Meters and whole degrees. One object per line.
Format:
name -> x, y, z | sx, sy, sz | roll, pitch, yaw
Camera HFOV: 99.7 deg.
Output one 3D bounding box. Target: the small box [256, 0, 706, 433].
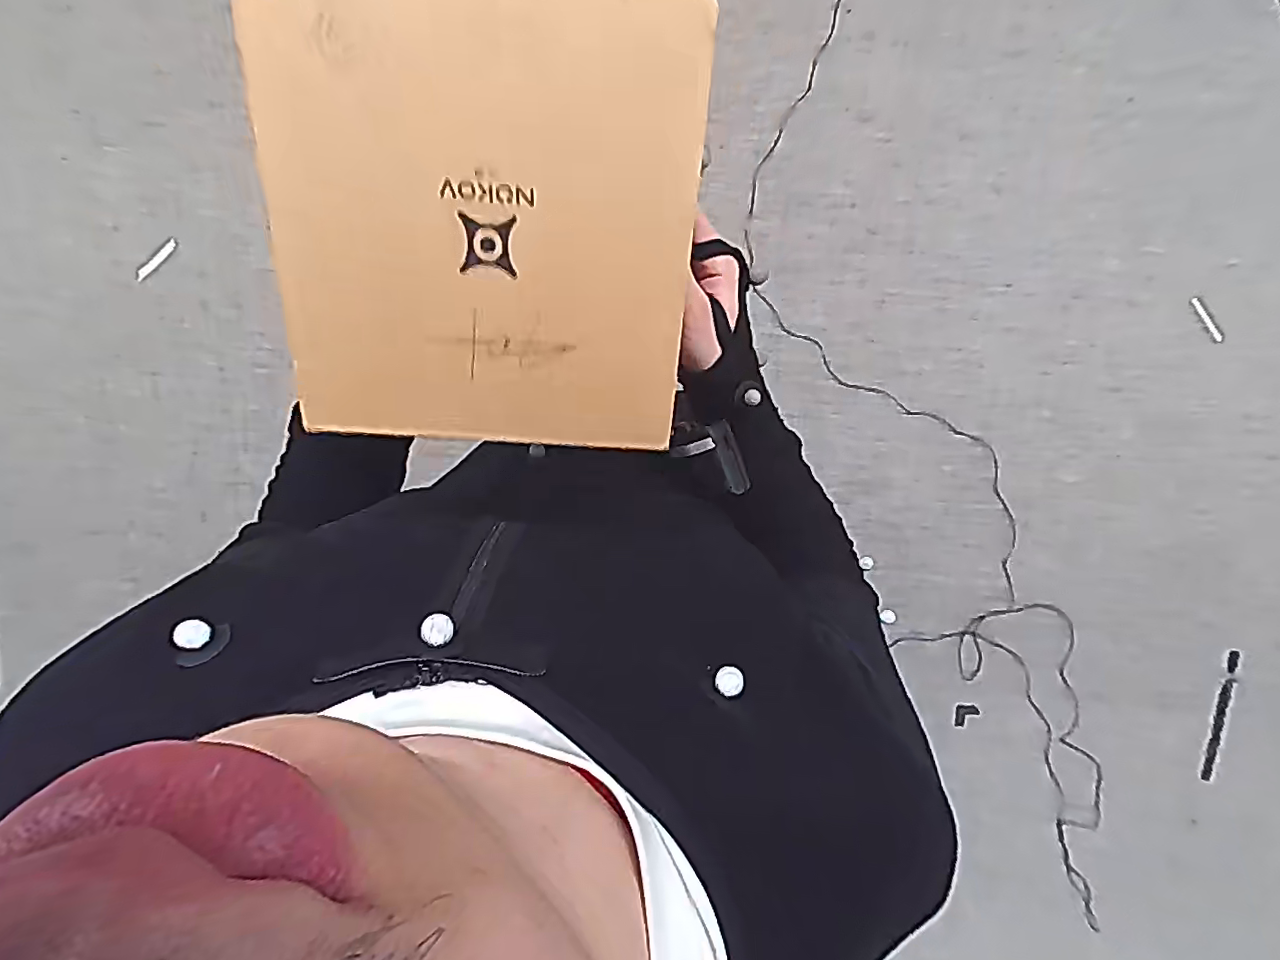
small box -> -0.070, -0.138, 0.299 | 0.168, 0.176, 0.179 | 4, 113, -6
